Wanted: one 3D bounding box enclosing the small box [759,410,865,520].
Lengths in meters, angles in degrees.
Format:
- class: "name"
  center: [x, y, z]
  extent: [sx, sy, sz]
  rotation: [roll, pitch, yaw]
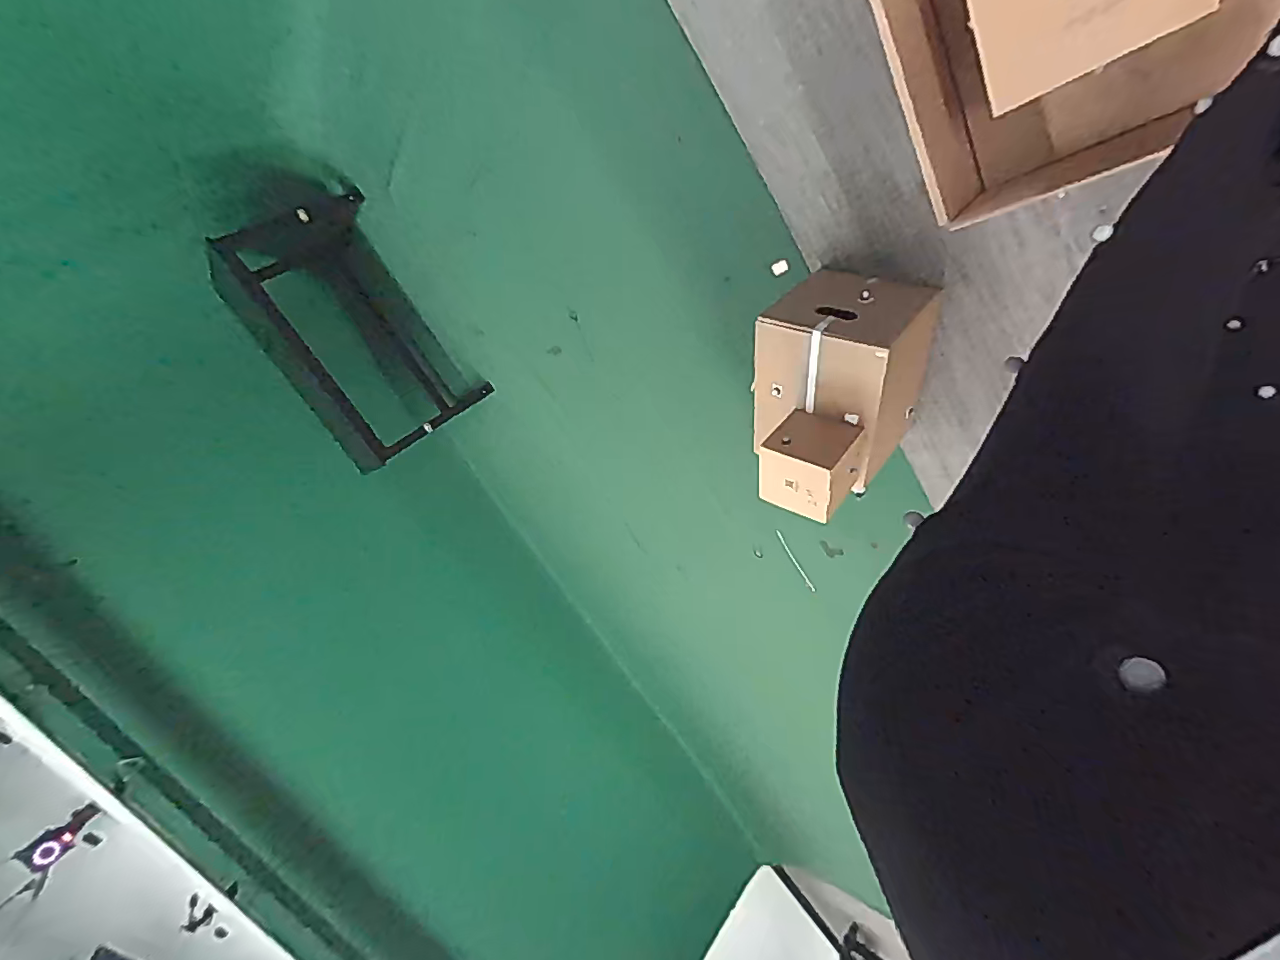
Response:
- class: "small box"
  center: [0.398, -0.043, 1.264]
  extent: [0.179, 0.176, 0.168]
  rotation: [23, 141, 33]
